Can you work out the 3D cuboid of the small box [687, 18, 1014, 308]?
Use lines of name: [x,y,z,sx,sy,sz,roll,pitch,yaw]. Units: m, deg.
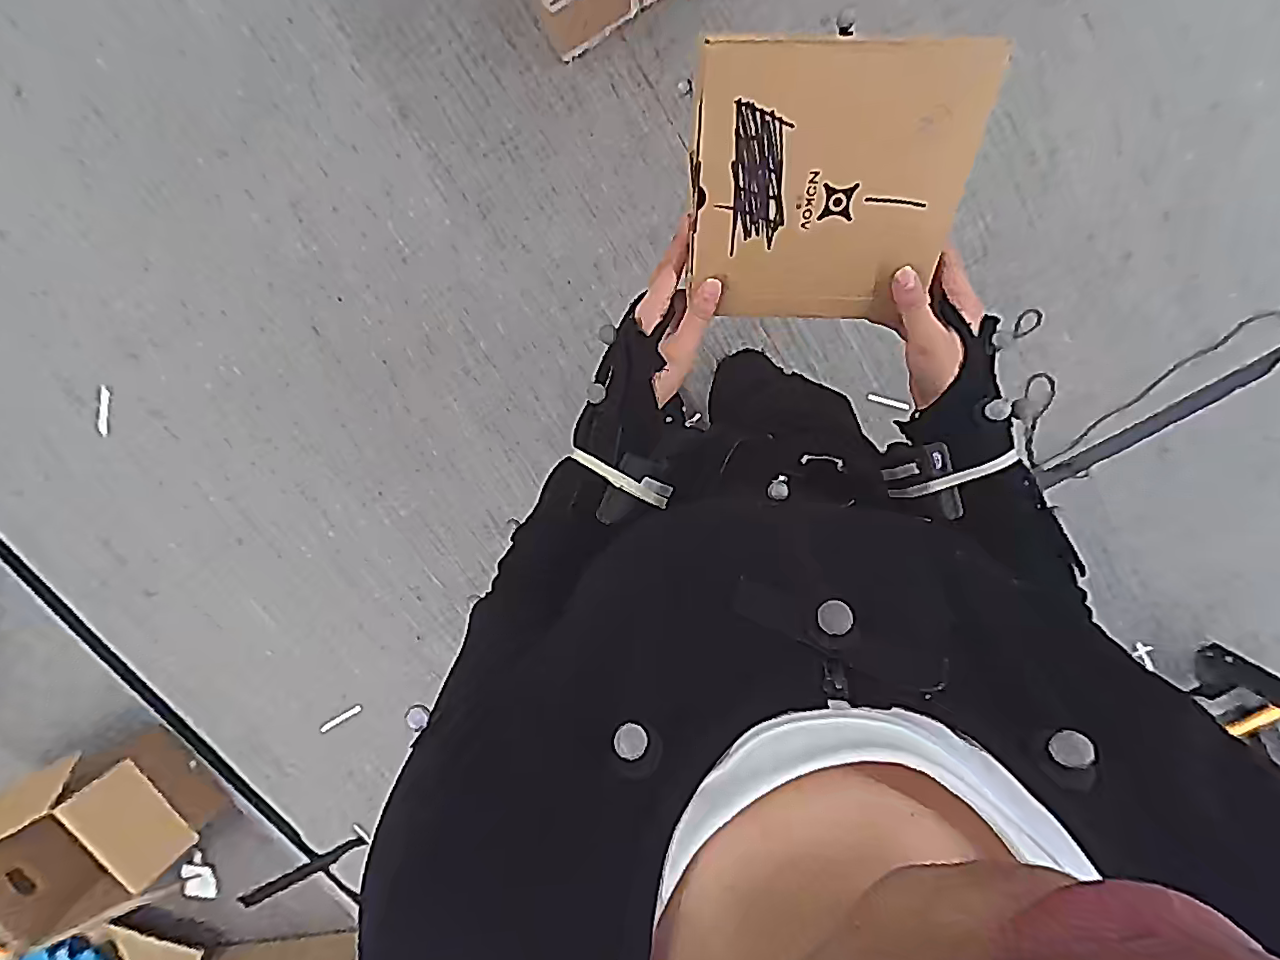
small box: [0.129,-0.247,0.419,0.179,0.176,0.168,2,131,2]
